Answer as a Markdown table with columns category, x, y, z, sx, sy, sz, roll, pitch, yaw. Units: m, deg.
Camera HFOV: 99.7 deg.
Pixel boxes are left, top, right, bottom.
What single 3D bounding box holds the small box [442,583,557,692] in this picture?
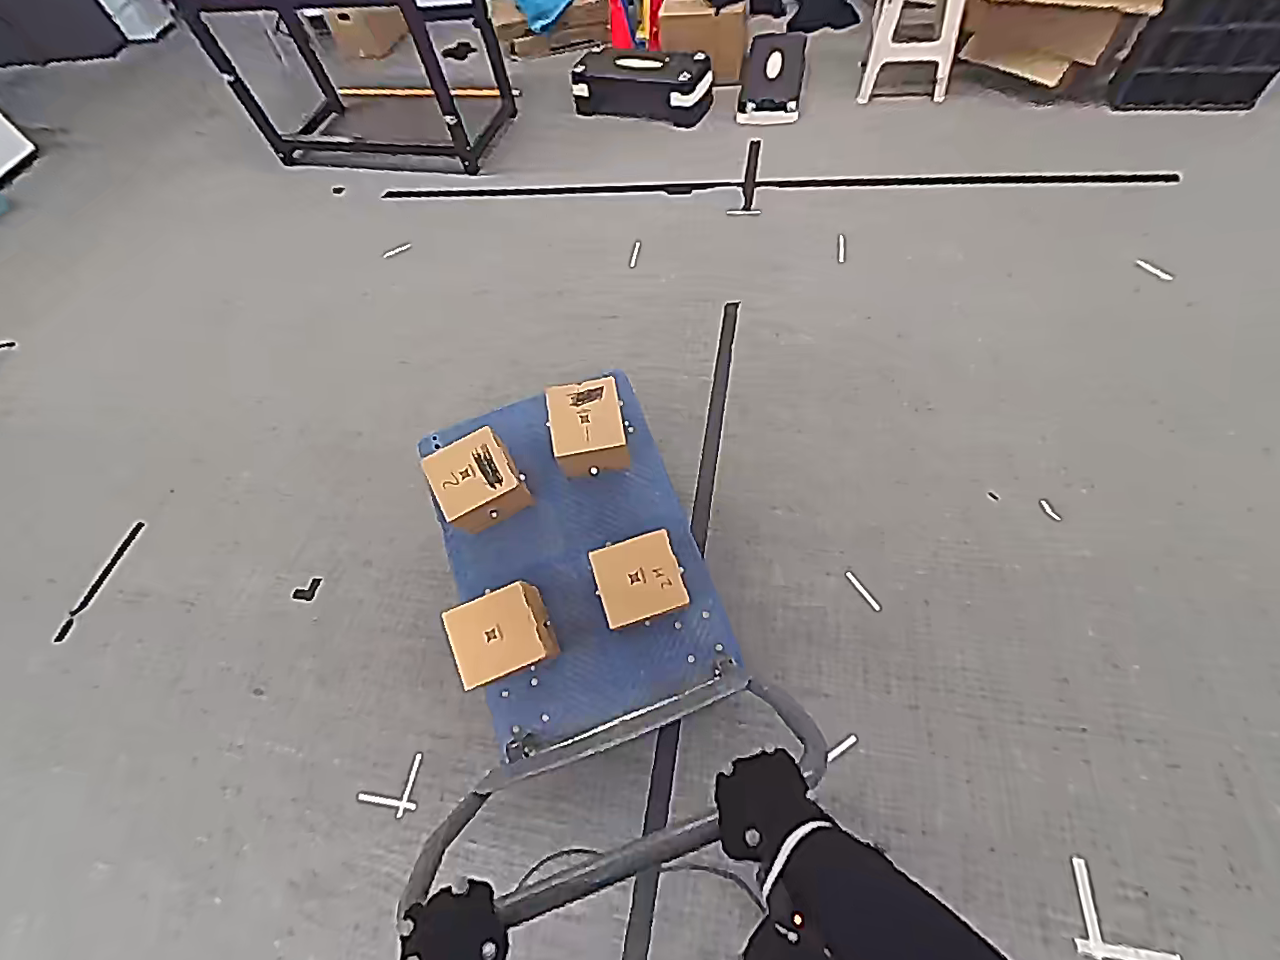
| category | x | y | z | sx | sy | sz | roll | pitch | yaw |
| --- | --- | --- | --- | --- | --- | --- | --- | --- | --- |
| small box | -0.296 | 0.342 | 1.173 | 0.179 | 0.176 | 0.168 | -23 | 74 | -7 |

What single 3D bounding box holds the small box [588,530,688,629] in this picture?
| category | x | y | z | sx | sy | sz | roll | pitch | yaw |
| --- | --- | --- | --- | --- | --- | --- | --- | --- | --- |
| small box | -0.002 | 0.227 | 1.198 | 0.179 | 0.176 | 0.168 | -18 | 74 | -4 |

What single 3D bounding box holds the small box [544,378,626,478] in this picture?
| category | x | y | z | sx | sy | sz | roll | pitch | yaw |
| --- | --- | --- | --- | --- | --- | --- | --- | --- | --- |
| small box | -0.128 | -0.121 | 1.305 | 0.168 | 0.176 | 0.179 | -11 | 75 | -2 |
